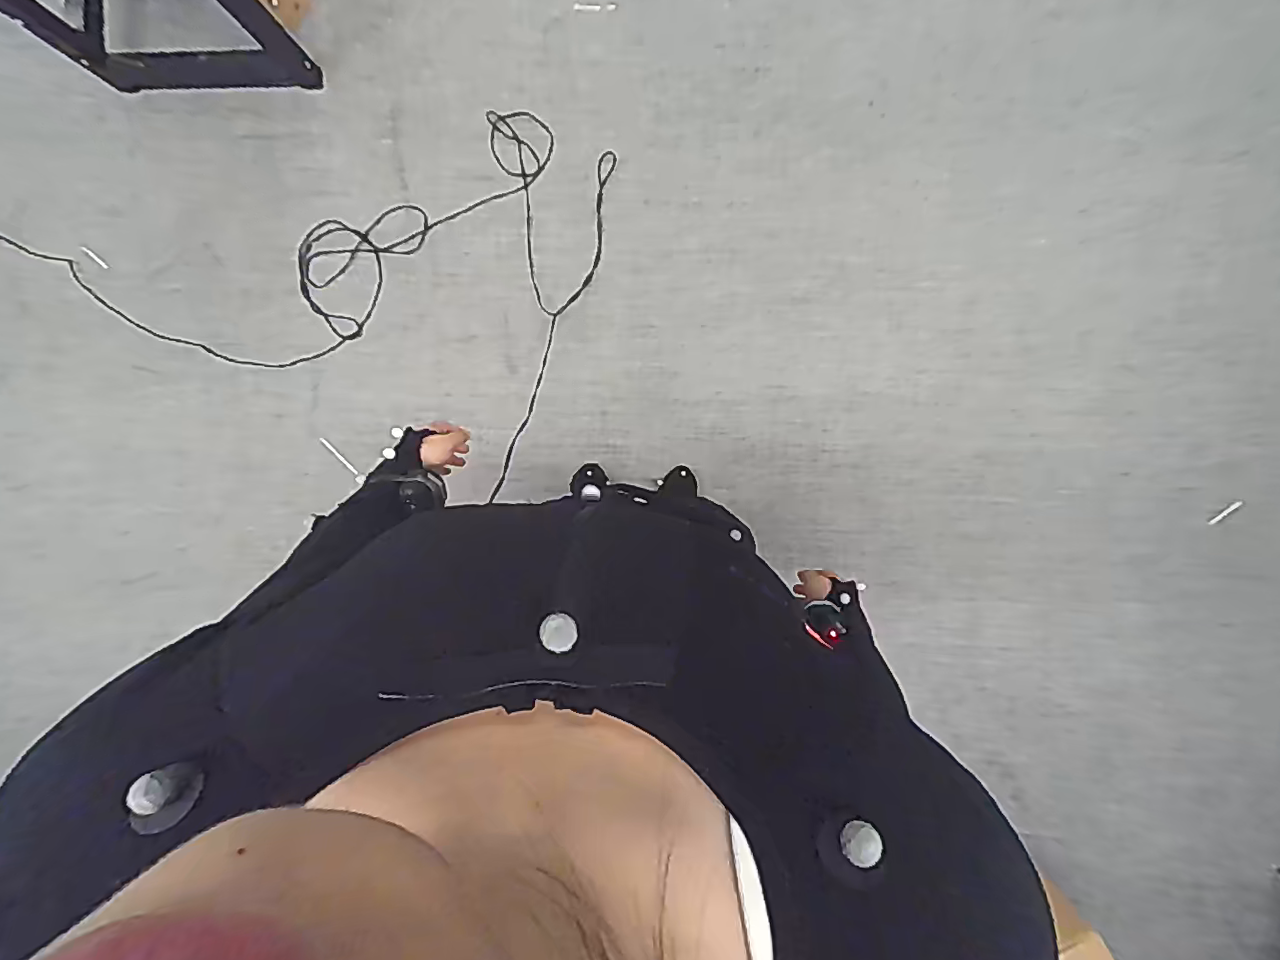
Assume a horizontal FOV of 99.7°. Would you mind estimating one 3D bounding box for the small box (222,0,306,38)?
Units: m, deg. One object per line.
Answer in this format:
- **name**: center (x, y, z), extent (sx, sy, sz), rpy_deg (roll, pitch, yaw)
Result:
- **small box**: center (-0.997, -1.286, 1.375), extent (0.179, 0.176, 0.168), rpy_deg (34, 94, 0)
